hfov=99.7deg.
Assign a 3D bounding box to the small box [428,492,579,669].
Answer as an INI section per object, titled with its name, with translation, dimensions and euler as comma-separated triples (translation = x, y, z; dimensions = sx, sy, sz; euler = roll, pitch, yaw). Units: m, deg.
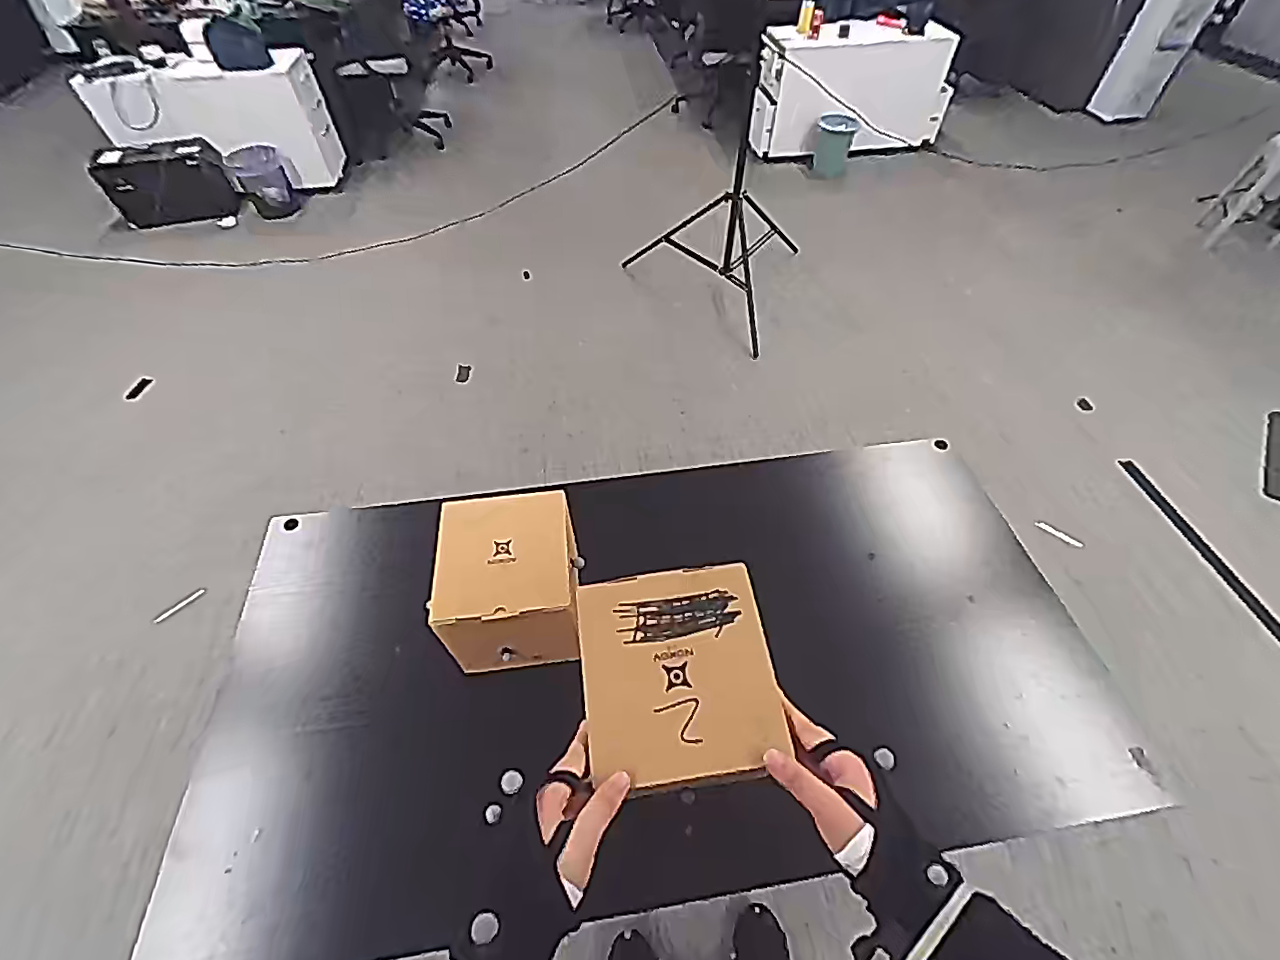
[small box]
translation = -0.177, 0.140, 0.747
dimensions = 0.168, 0.176, 0.179
euler = -6, 52, -4
